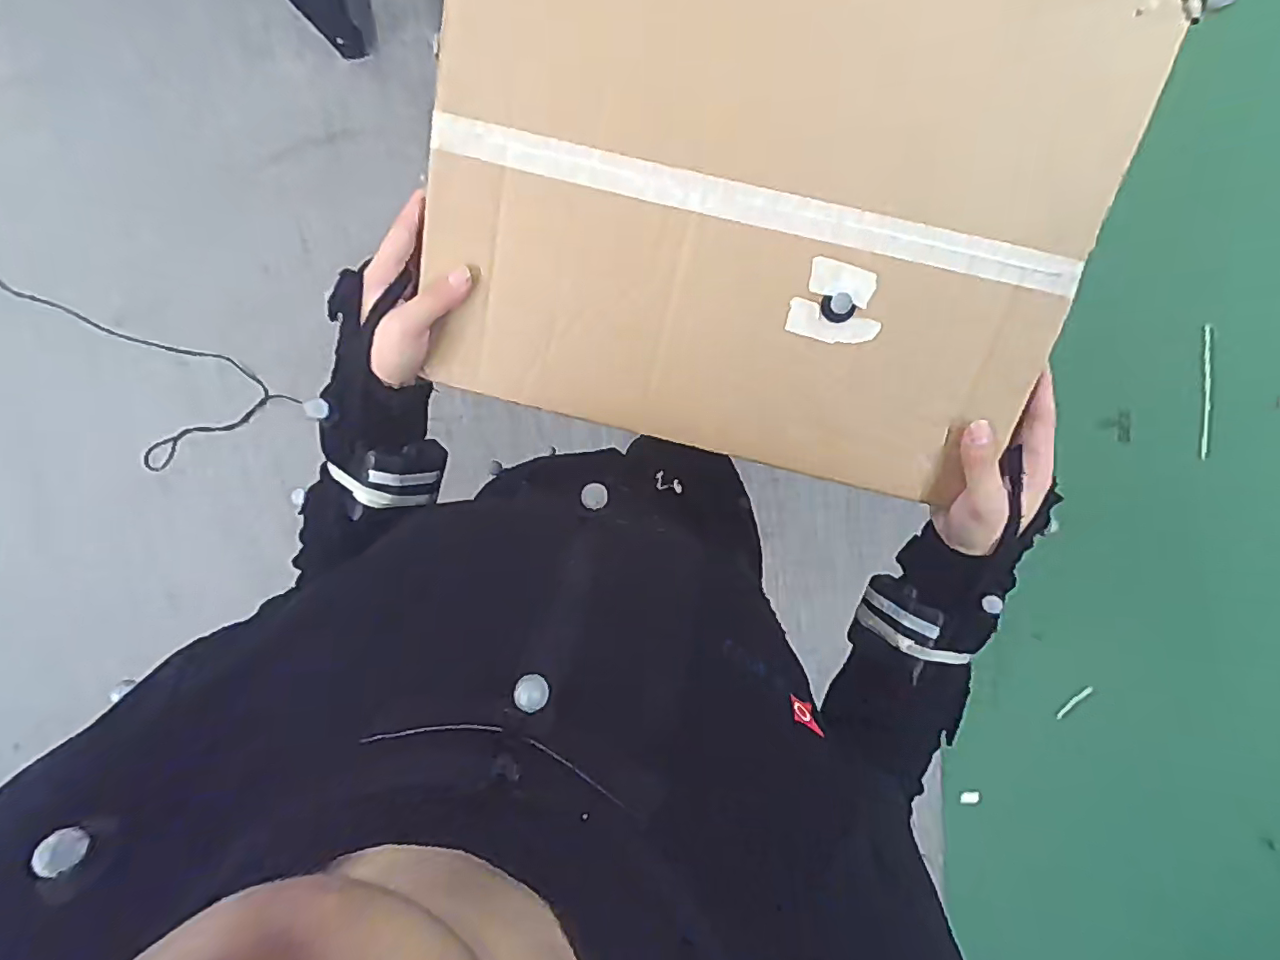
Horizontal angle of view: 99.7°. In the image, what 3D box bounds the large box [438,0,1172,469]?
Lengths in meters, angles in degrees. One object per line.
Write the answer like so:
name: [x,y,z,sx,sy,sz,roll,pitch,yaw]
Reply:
large box: [0.085,-0.231,0.481,0.408,0.320,0.320,12,108,0]
